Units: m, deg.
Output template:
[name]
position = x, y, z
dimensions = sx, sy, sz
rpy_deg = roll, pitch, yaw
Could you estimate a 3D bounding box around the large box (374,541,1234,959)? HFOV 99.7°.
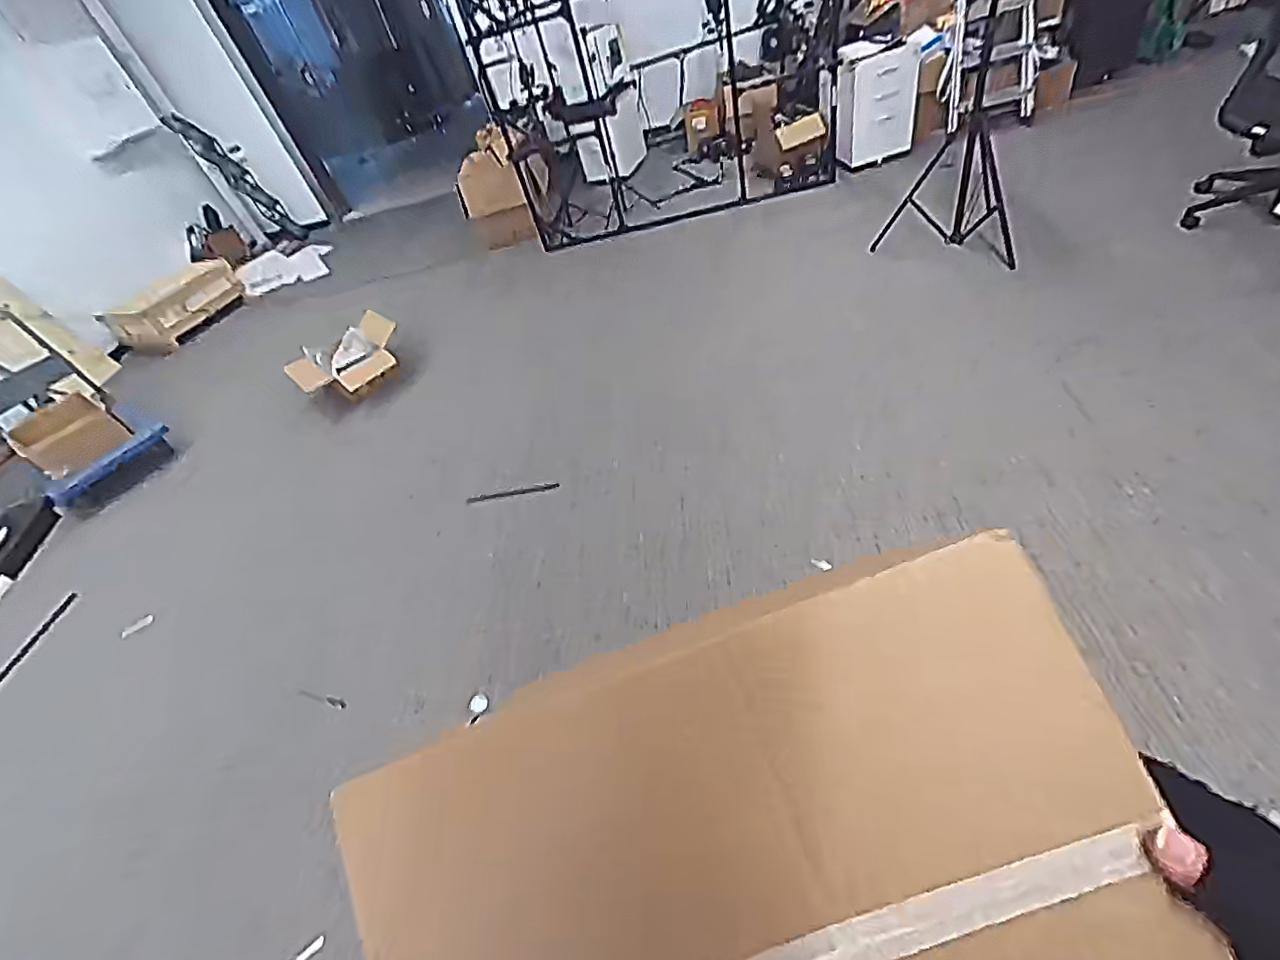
[large box]
position = 0.095, 0.277, 0.422
dimensions = 0.408, 0.320, 0.320
rpy_deg = -23, 78, 3
